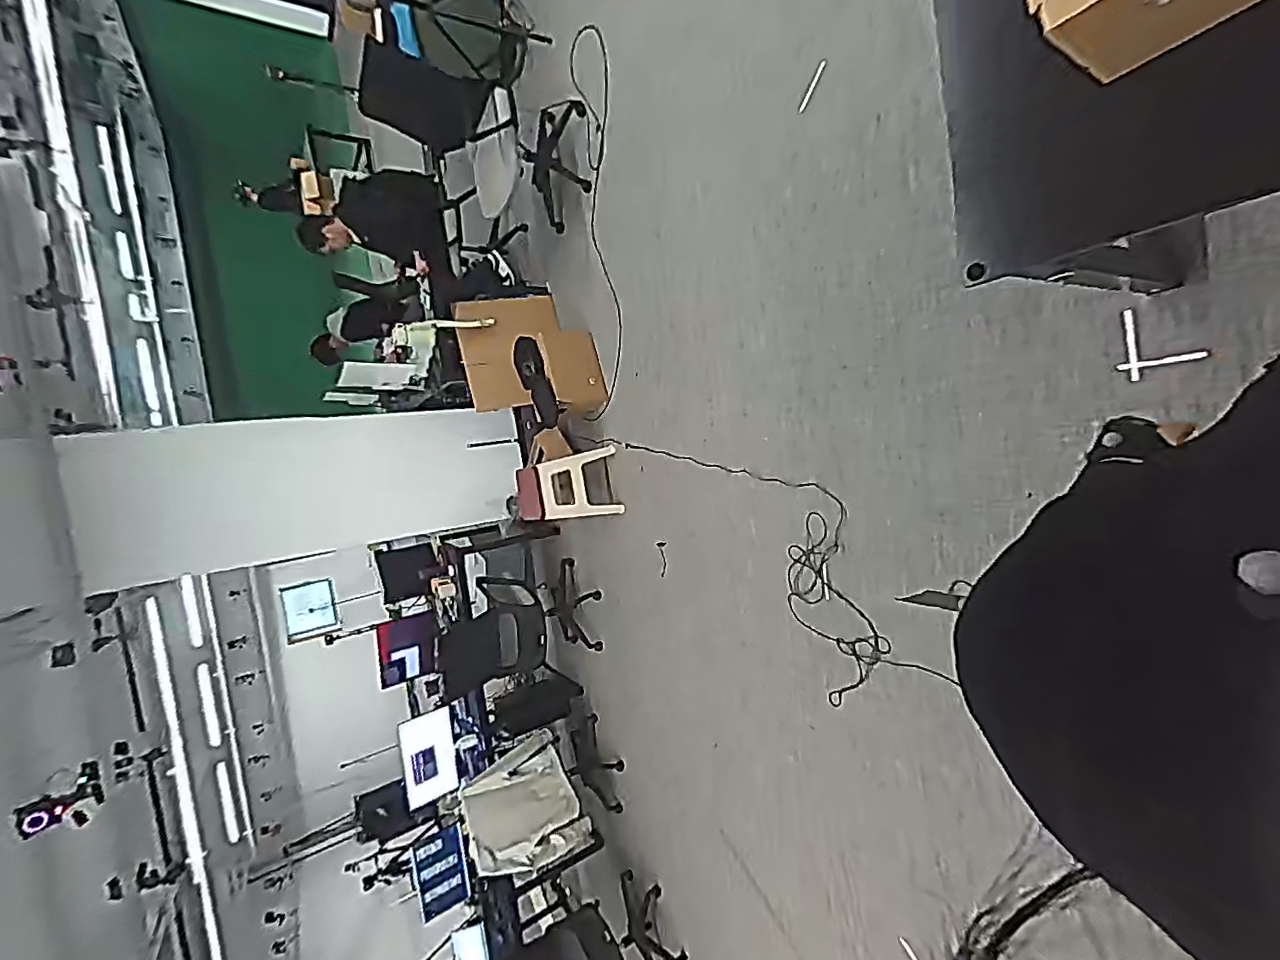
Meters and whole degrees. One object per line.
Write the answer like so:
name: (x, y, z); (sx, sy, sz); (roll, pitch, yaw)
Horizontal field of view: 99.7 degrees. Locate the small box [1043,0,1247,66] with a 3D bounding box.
small box: (0.481, -0.515, 0.473); (0.179, 0.176, 0.168); (-7, 93, 56)
